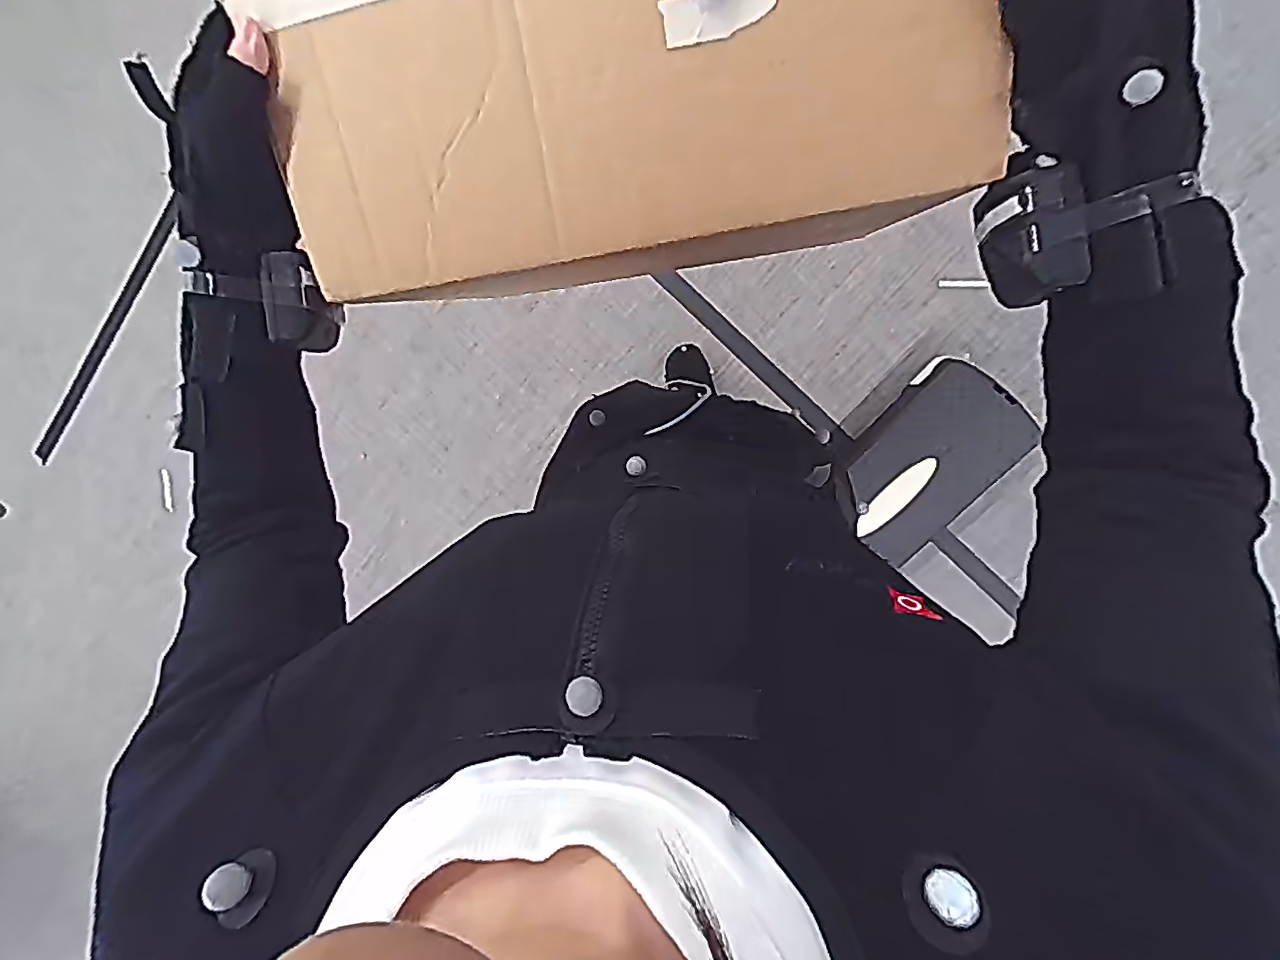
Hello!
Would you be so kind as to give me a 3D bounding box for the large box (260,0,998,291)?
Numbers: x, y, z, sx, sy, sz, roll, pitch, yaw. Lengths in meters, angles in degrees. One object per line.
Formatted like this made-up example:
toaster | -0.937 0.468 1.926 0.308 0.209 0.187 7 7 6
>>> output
large box | -0.009 -0.342 0.421 0.408 0.320 0.320 -6 109 11
